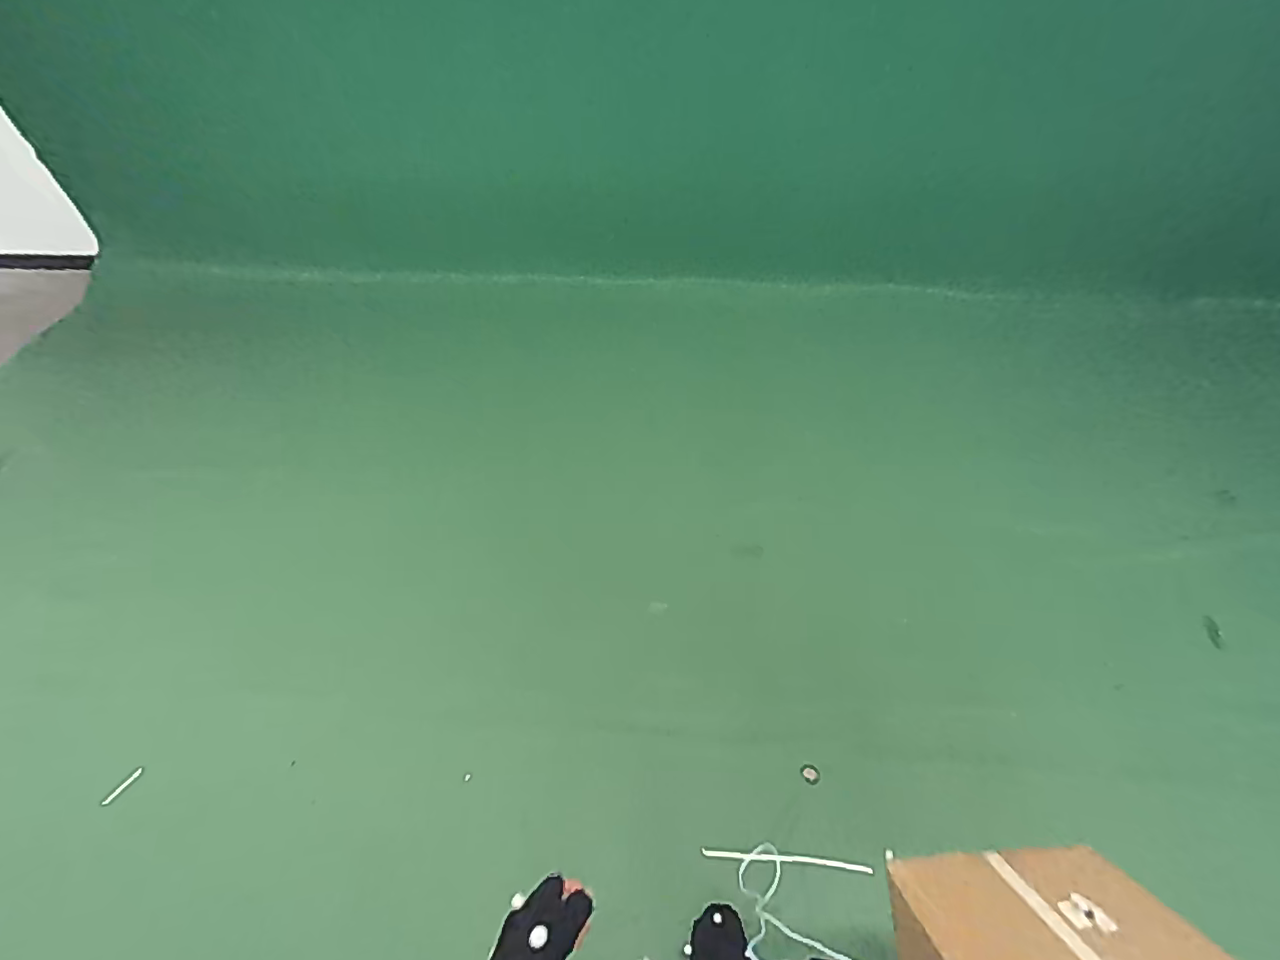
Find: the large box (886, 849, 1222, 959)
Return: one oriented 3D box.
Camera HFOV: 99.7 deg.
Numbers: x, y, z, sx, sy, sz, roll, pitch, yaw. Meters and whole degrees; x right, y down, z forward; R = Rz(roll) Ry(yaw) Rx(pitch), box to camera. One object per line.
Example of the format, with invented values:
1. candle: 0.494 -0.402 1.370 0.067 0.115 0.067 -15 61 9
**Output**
1. large box: 0.542 0.722 0.627 0.320 0.408 0.320 -6 87 2
